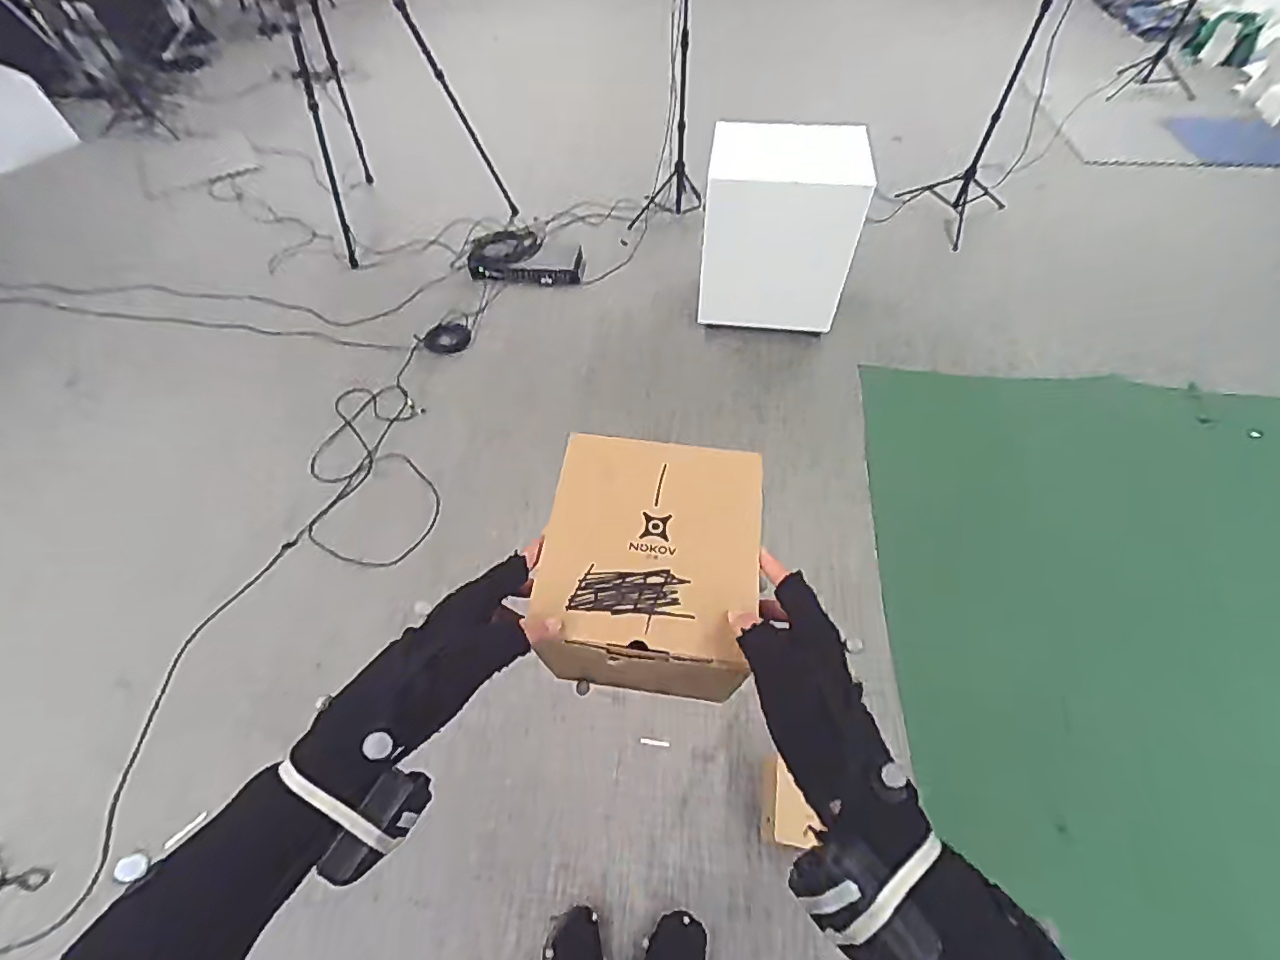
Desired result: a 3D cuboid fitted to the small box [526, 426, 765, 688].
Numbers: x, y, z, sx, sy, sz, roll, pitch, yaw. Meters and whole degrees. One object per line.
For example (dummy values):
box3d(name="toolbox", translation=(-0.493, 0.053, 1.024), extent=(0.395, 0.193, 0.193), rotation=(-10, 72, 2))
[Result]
box3d(name="small box", translation=(0.010, 0.077, 0.480), extent=(0.168, 0.176, 0.179), rotation=(7, 61, 2))
